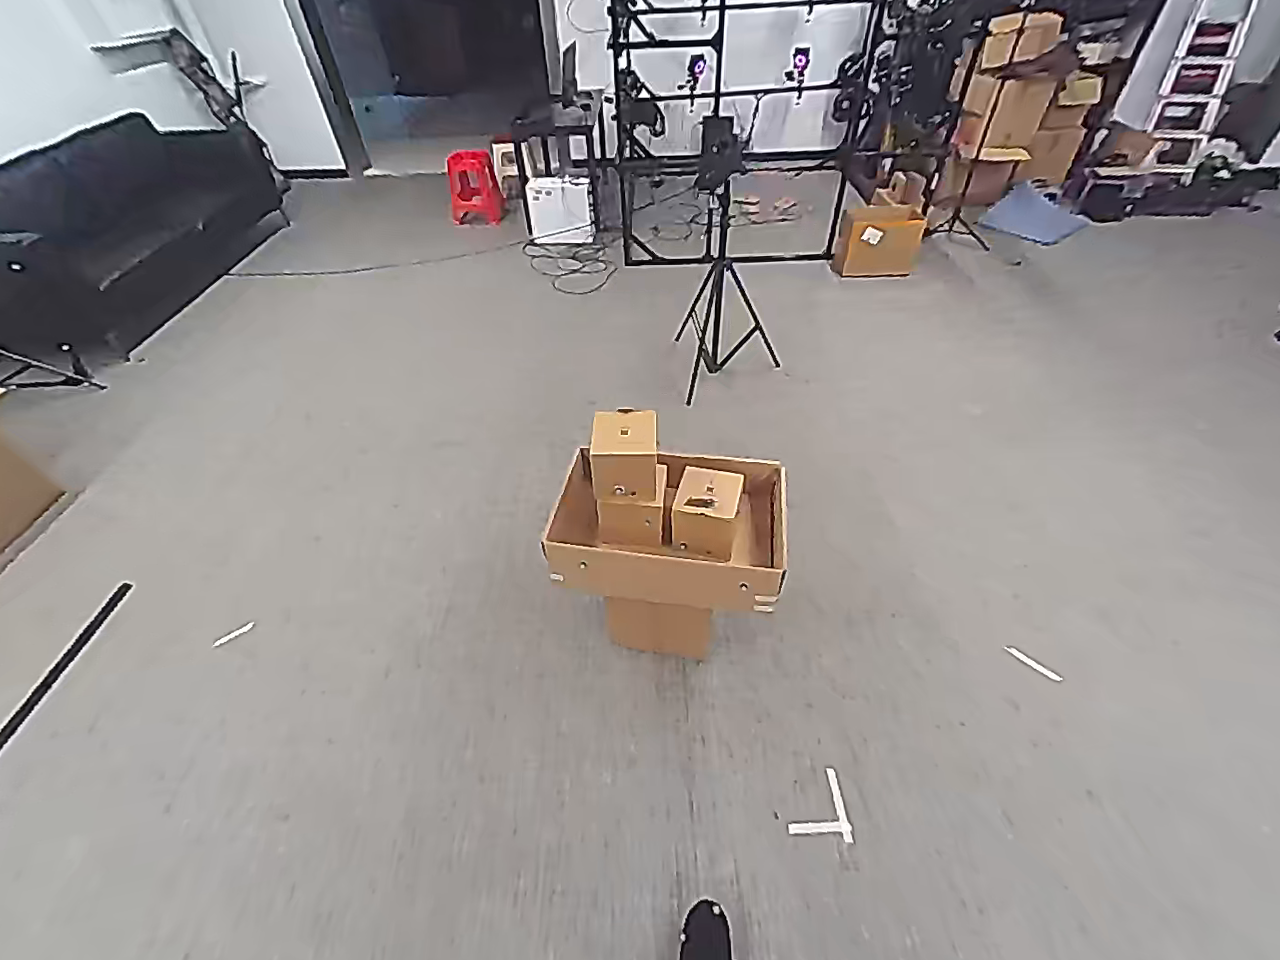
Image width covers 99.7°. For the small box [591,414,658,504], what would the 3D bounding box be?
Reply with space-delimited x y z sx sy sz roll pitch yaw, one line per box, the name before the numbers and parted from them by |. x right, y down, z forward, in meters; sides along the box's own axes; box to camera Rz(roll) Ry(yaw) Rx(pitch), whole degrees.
small box | -0.035 -0.057 1.428 0.168 0.176 0.179 0 44 2
